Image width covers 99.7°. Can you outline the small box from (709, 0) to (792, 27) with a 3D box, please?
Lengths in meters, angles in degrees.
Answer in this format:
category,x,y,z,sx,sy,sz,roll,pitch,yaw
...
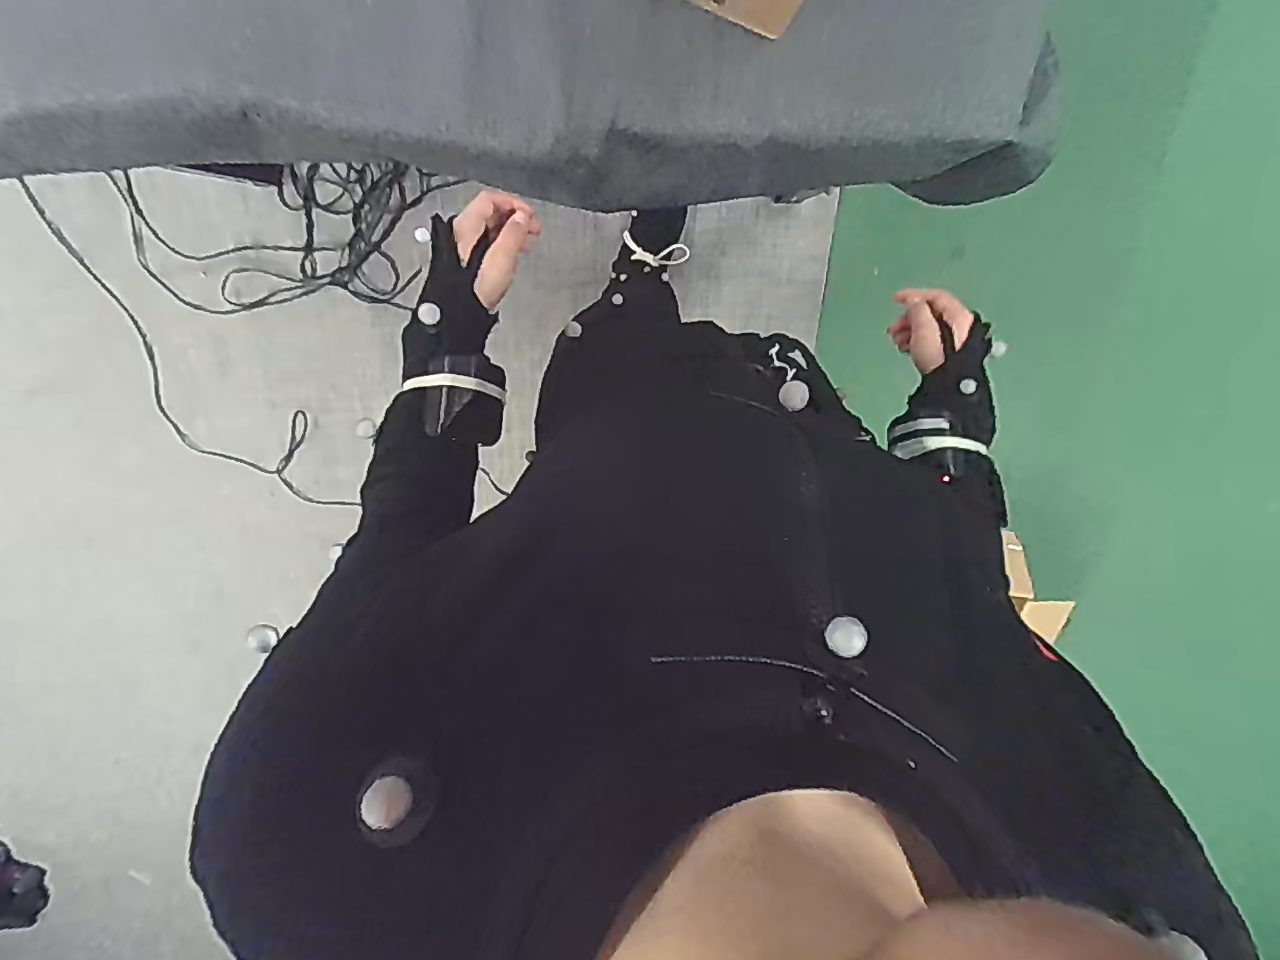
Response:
category,x,y,z,sx,sy,sz,roll,pitch,yaw
small box,0.068,-0.452,0.352,0.168,0.176,0.179,19,109,-7
